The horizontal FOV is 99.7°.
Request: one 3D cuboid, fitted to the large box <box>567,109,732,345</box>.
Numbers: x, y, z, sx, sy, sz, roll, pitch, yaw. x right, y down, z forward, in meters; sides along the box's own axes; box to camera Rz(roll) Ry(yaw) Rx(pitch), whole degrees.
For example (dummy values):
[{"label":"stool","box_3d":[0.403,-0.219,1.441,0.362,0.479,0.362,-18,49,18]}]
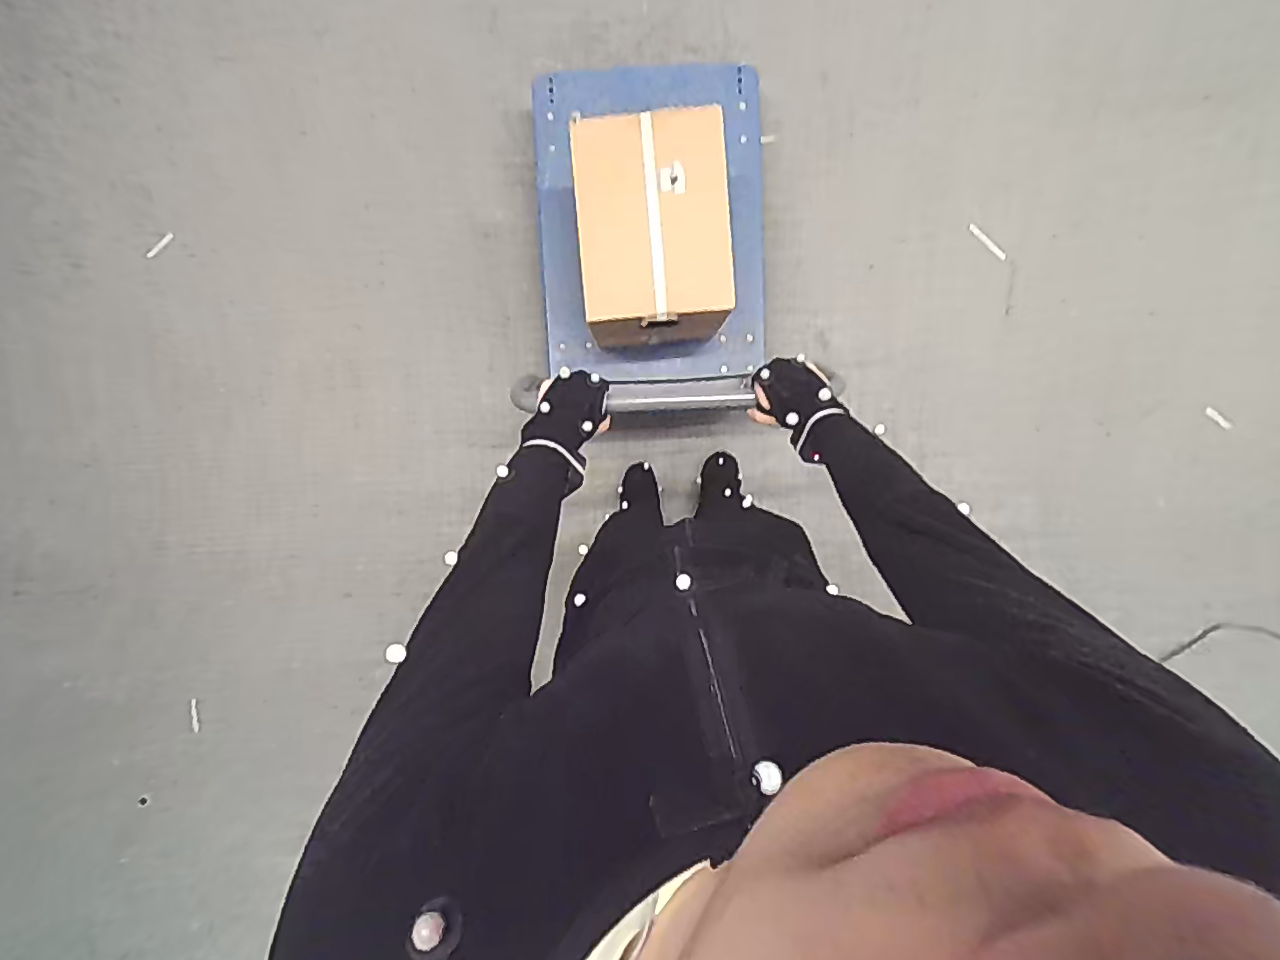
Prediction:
[{"label":"large box","box_3d":[0.024,-0.555,1.263,0.320,0.320,0.408,-5,94,0]}]
